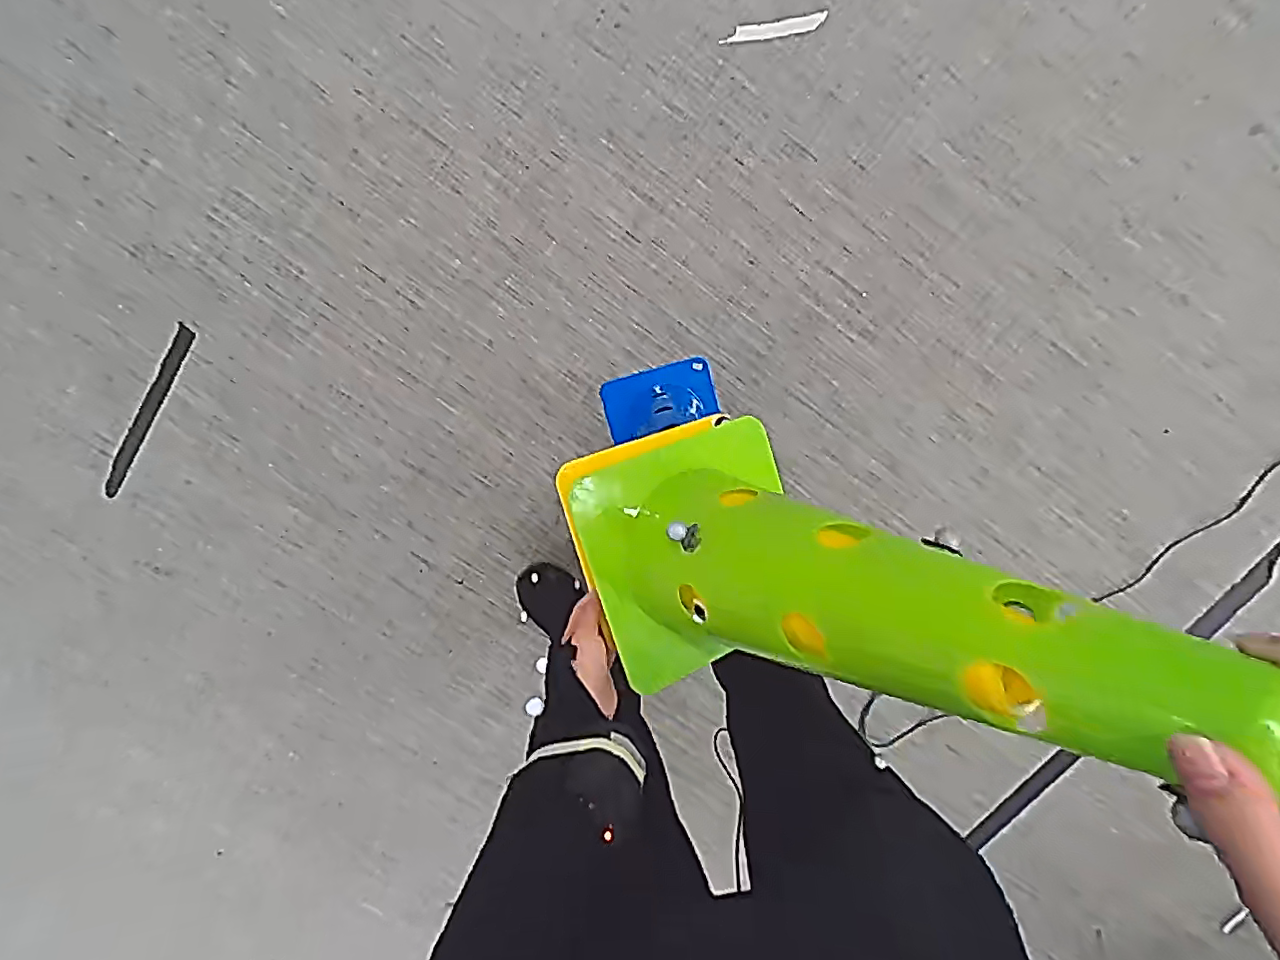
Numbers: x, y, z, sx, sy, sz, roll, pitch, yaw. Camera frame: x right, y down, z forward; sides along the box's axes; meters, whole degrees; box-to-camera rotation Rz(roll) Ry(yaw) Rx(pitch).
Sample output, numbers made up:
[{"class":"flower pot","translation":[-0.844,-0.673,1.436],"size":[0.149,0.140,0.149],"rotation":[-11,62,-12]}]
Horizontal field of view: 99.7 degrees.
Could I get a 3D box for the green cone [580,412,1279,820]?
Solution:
[{"class":"green cone","translation":[0.125,0.063,0.316],"size":[0.202,0.368,0.200],"rotation":[-22,100,-19]}]
